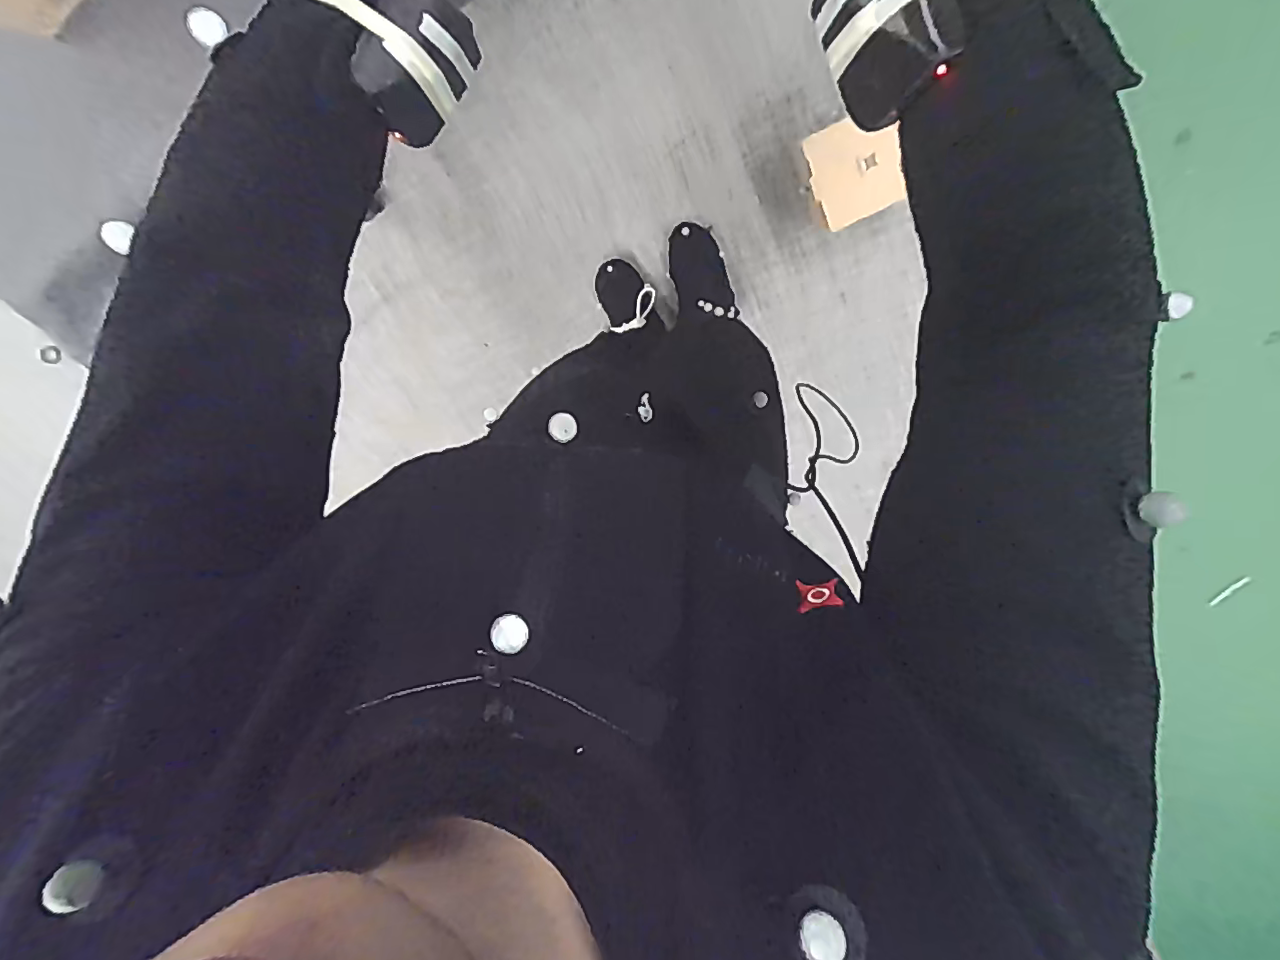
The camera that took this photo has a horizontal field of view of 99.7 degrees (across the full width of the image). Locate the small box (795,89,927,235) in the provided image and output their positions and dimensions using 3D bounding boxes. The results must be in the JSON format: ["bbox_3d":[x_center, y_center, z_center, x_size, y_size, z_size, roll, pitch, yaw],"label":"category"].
[{"bbox_3d":[0.398,-0.578,1.002,0.179,0.176,0.168,-21,114,19],"label":"small box"}]
